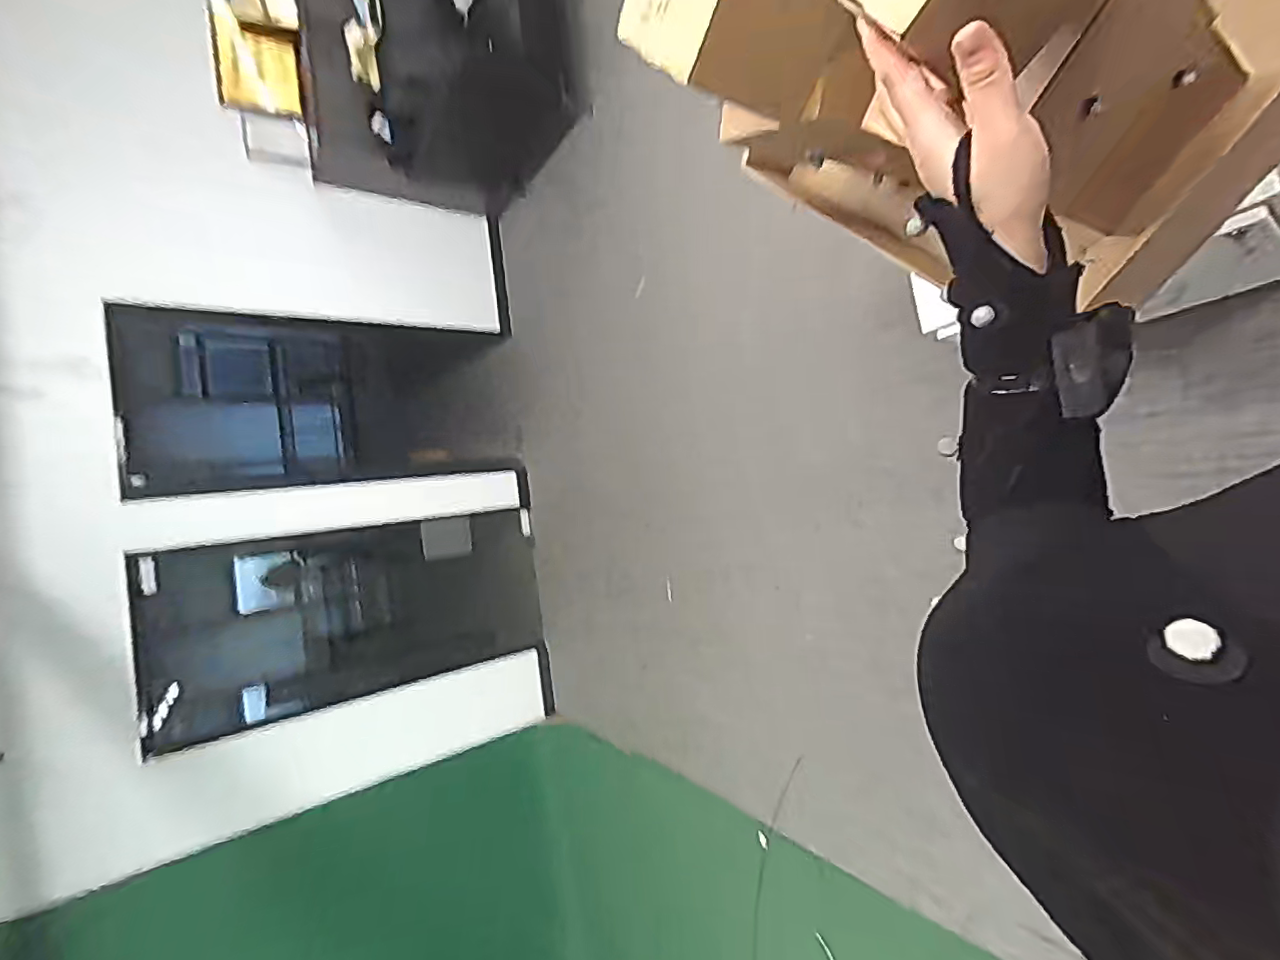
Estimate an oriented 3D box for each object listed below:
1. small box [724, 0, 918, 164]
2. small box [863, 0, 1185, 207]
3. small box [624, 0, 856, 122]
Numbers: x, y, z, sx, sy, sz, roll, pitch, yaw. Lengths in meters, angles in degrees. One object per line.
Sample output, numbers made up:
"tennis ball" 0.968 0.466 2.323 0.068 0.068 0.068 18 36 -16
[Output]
"small box" 0.235 -0.537 0.705 0.168 0.176 0.179 27 119 50
"small box" 0.370 -0.399 0.530 0.168 0.176 0.179 58 139 35
"small box" 0.115 -0.534 0.588 0.168 0.176 0.179 59 139 31
